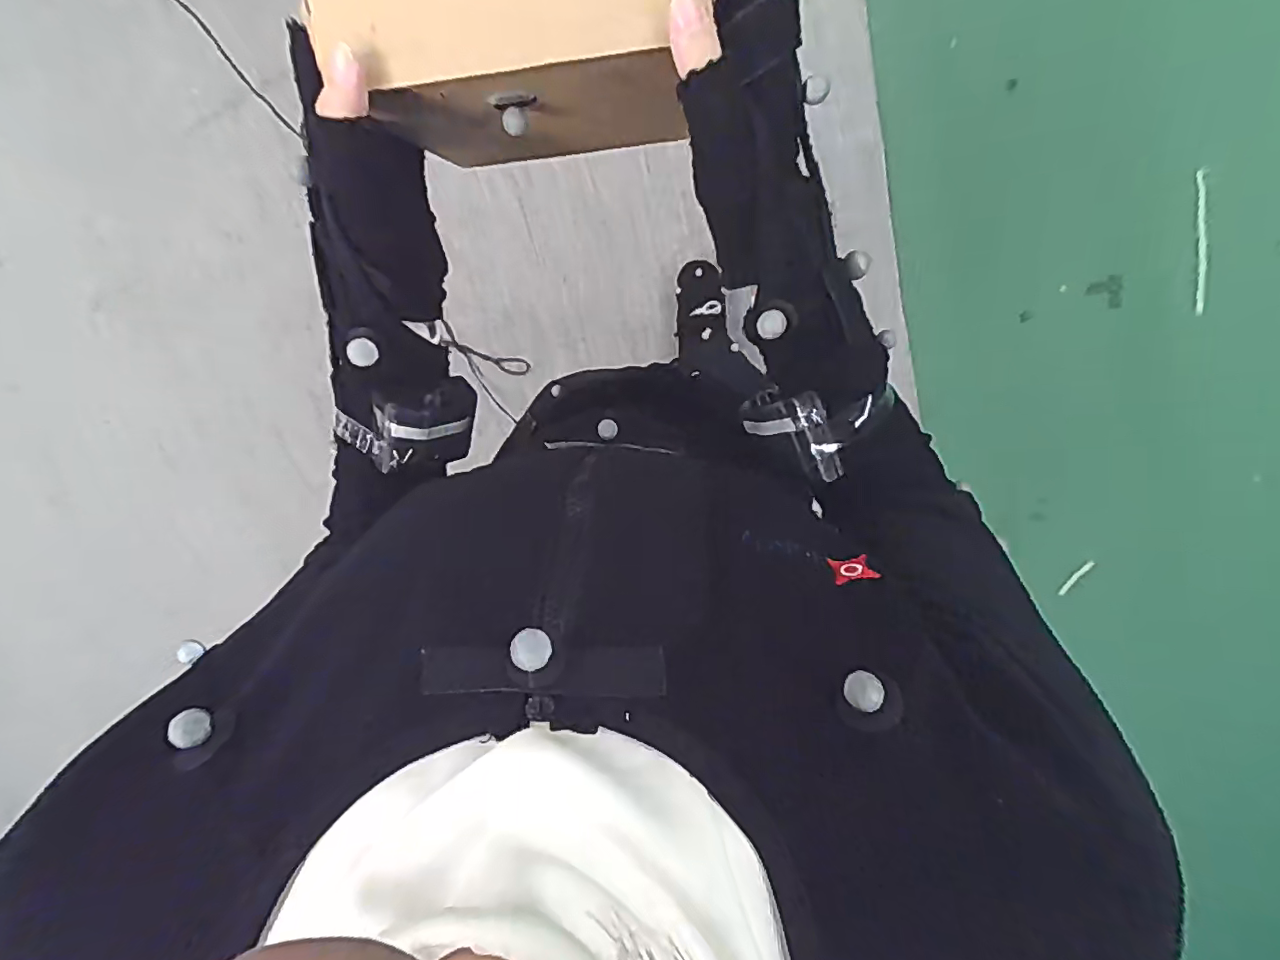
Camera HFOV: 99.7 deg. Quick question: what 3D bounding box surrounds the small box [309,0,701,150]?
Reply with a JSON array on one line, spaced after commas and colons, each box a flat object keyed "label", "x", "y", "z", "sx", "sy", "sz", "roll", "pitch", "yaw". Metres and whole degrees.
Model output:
[{"label": "small box", "x": -0.059, "y": -0.294, "z": 0.287, "sx": 0.179, "sy": 0.176, "sz": 0.168, "roll": -4, "pitch": 109, "yaw": 5}]

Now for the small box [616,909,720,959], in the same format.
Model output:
[{"label": "small box", "x": 0.055, "y": 0.900, "z": 0.952, "sx": 0.179, "sy": 0.176, "sz": 0.168, "roll": -13, "pitch": 102, "yaw": 7}]
